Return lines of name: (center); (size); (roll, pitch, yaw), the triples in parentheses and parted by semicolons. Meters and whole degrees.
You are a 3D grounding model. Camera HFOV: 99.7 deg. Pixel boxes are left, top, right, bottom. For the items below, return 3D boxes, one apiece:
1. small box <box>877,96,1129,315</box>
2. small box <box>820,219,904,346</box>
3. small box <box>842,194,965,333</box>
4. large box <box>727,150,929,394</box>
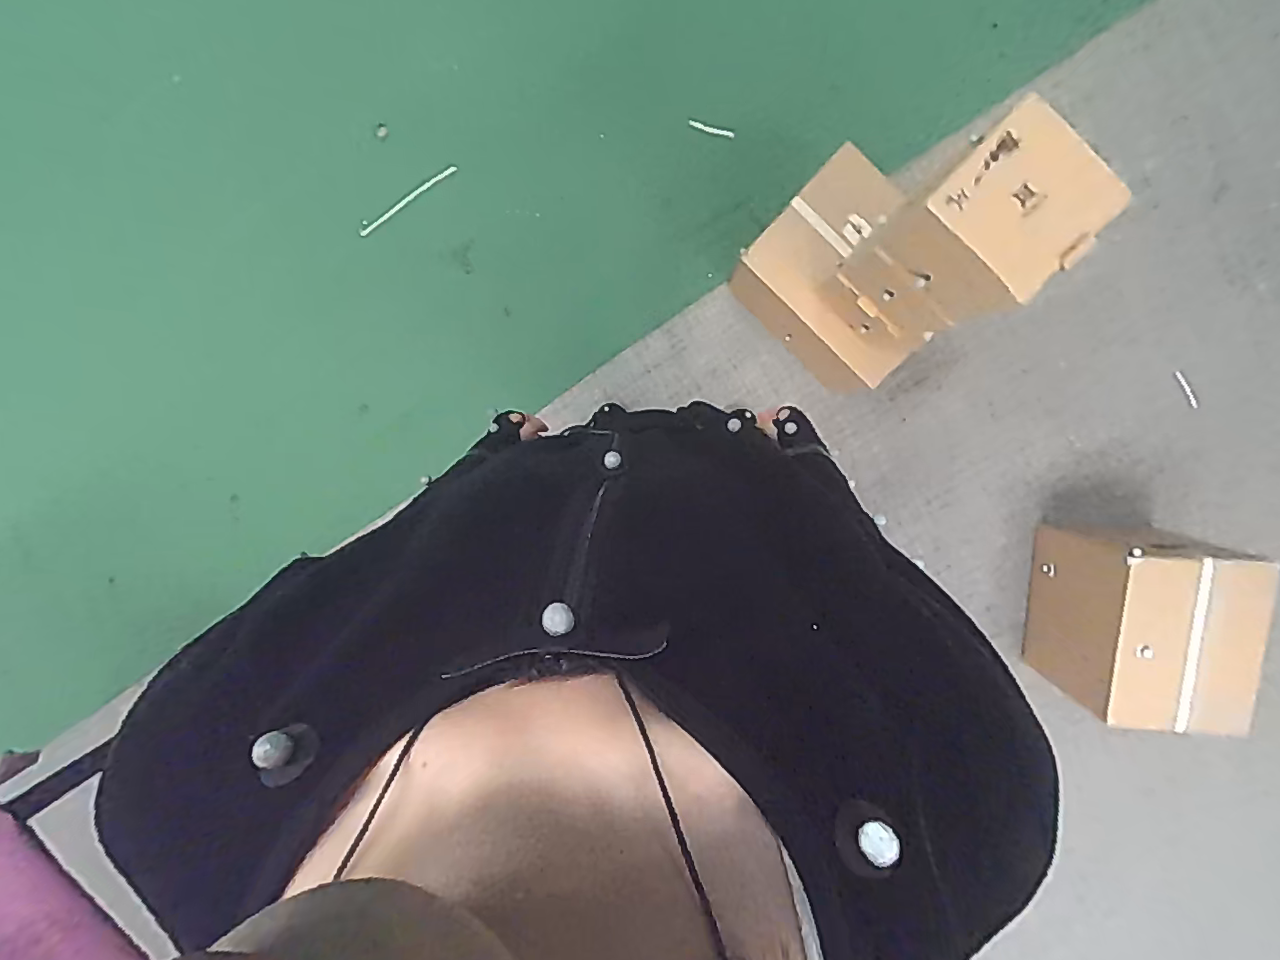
small box: (0.455, -0.336, 0.709); (0.179, 0.176, 0.168); (44, 98, -4)
small box: (0.469, -0.378, 1.035); (0.168, 0.176, 0.179); (44, 98, -3)
small box: (0.464, -0.355, 0.873); (0.179, 0.176, 0.168); (43, 98, -3)
large box: (0.462, -0.449, 1.272); (0.408, 0.320, 0.320); (44, 97, -2)
